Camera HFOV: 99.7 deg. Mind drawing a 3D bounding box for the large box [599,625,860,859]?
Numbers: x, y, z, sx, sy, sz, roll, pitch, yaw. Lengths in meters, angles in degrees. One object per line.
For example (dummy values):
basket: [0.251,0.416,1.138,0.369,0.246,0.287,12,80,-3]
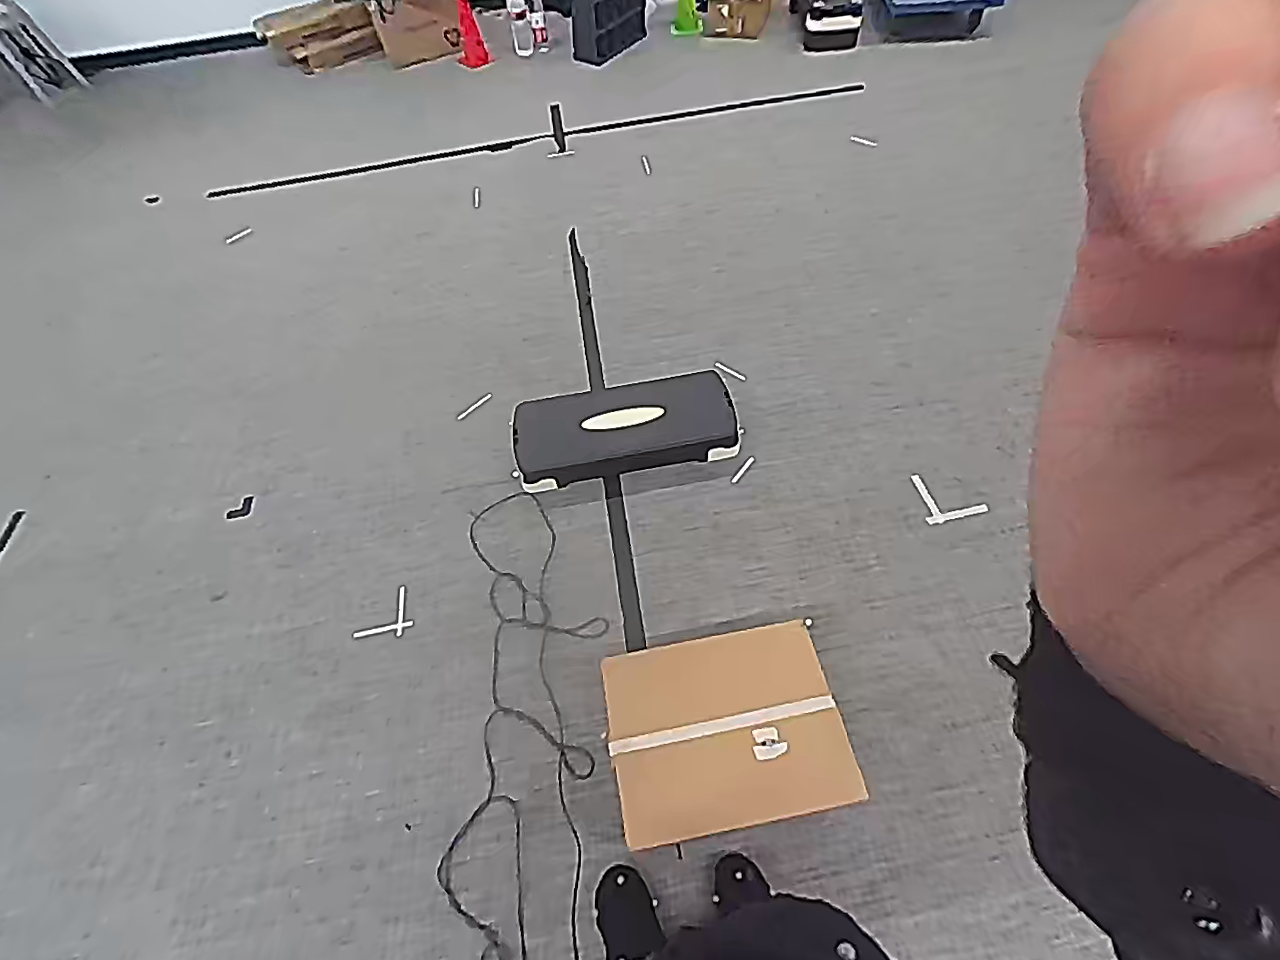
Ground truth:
large box: [0.151,0.528,1.084,0.408,0.320,0.320,-11,57,-3]
